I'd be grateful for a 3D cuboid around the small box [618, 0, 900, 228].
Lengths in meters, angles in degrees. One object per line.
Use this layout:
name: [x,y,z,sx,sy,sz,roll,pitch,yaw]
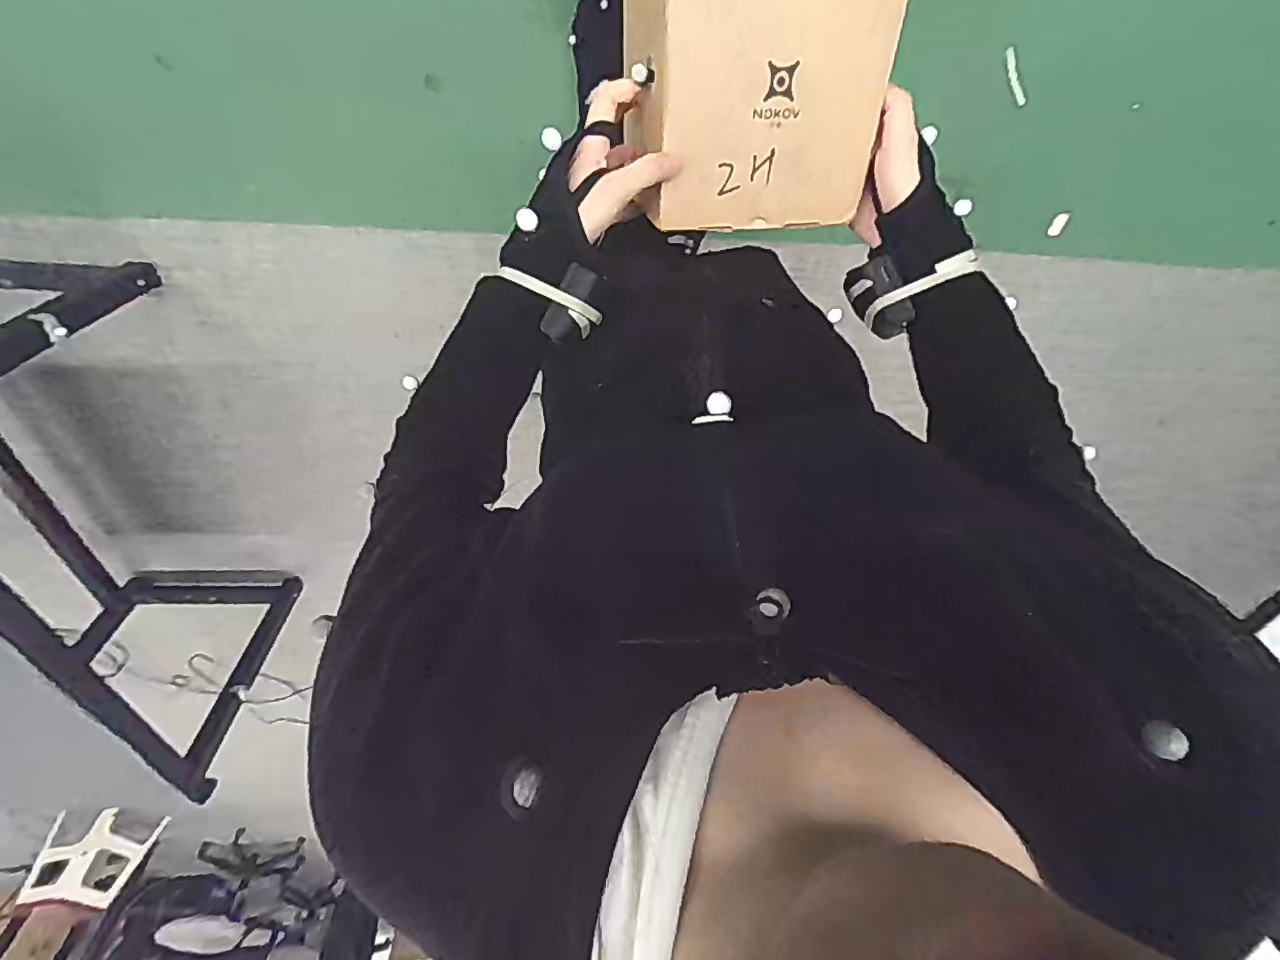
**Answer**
small box: [0.076,-0.322,0.445,0.168,0.176,0.179,-5,130,-10]
